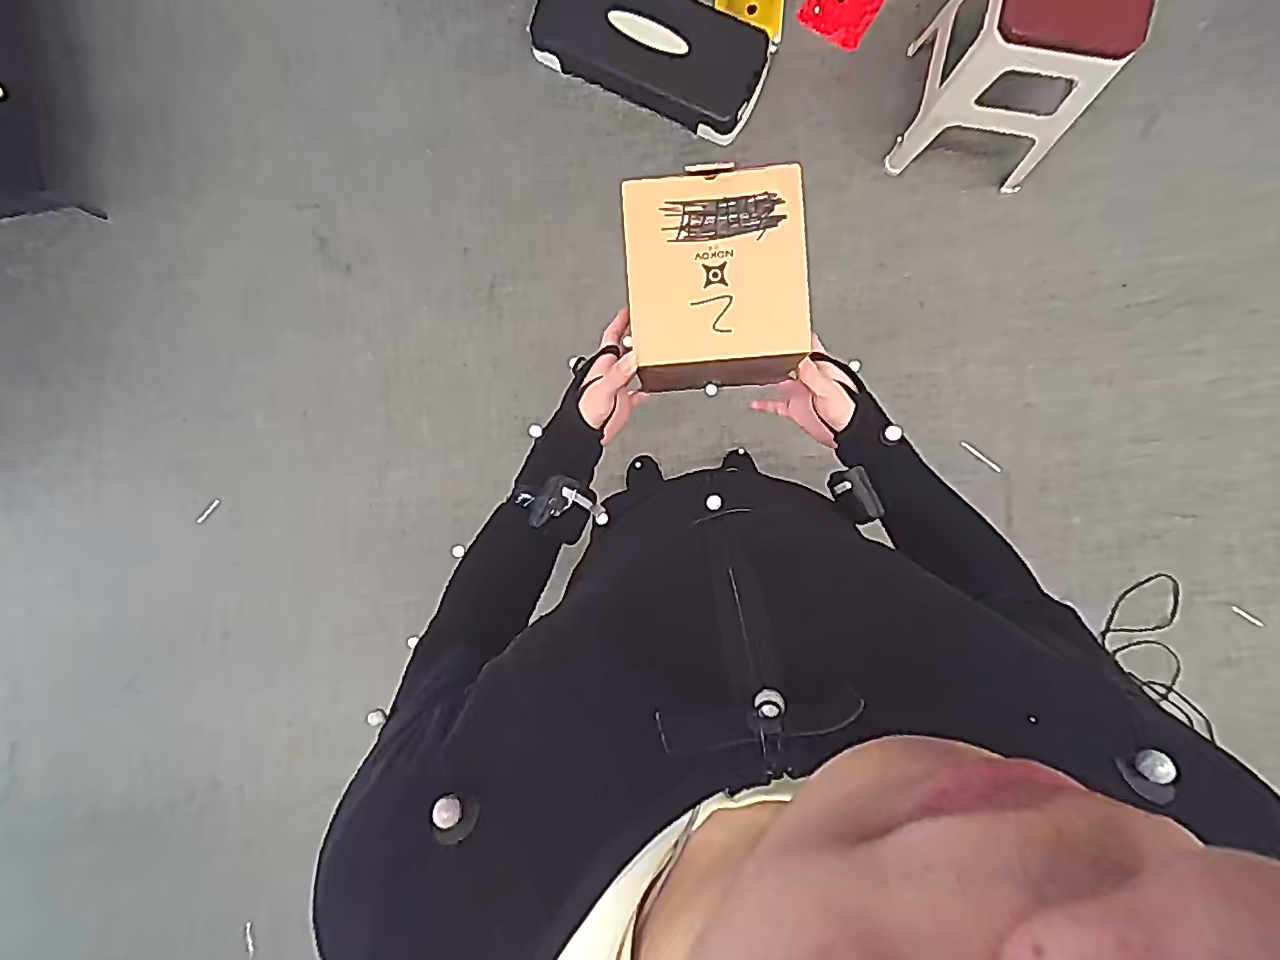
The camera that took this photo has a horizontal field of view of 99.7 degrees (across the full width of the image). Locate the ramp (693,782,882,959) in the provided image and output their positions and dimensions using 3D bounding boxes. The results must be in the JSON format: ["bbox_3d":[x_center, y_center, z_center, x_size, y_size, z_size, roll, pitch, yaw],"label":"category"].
[{"bbox_3d":[0.452,1.427,1.564,0.509,0.206,0.991,-9,91,5],"label":"ramp"}]
